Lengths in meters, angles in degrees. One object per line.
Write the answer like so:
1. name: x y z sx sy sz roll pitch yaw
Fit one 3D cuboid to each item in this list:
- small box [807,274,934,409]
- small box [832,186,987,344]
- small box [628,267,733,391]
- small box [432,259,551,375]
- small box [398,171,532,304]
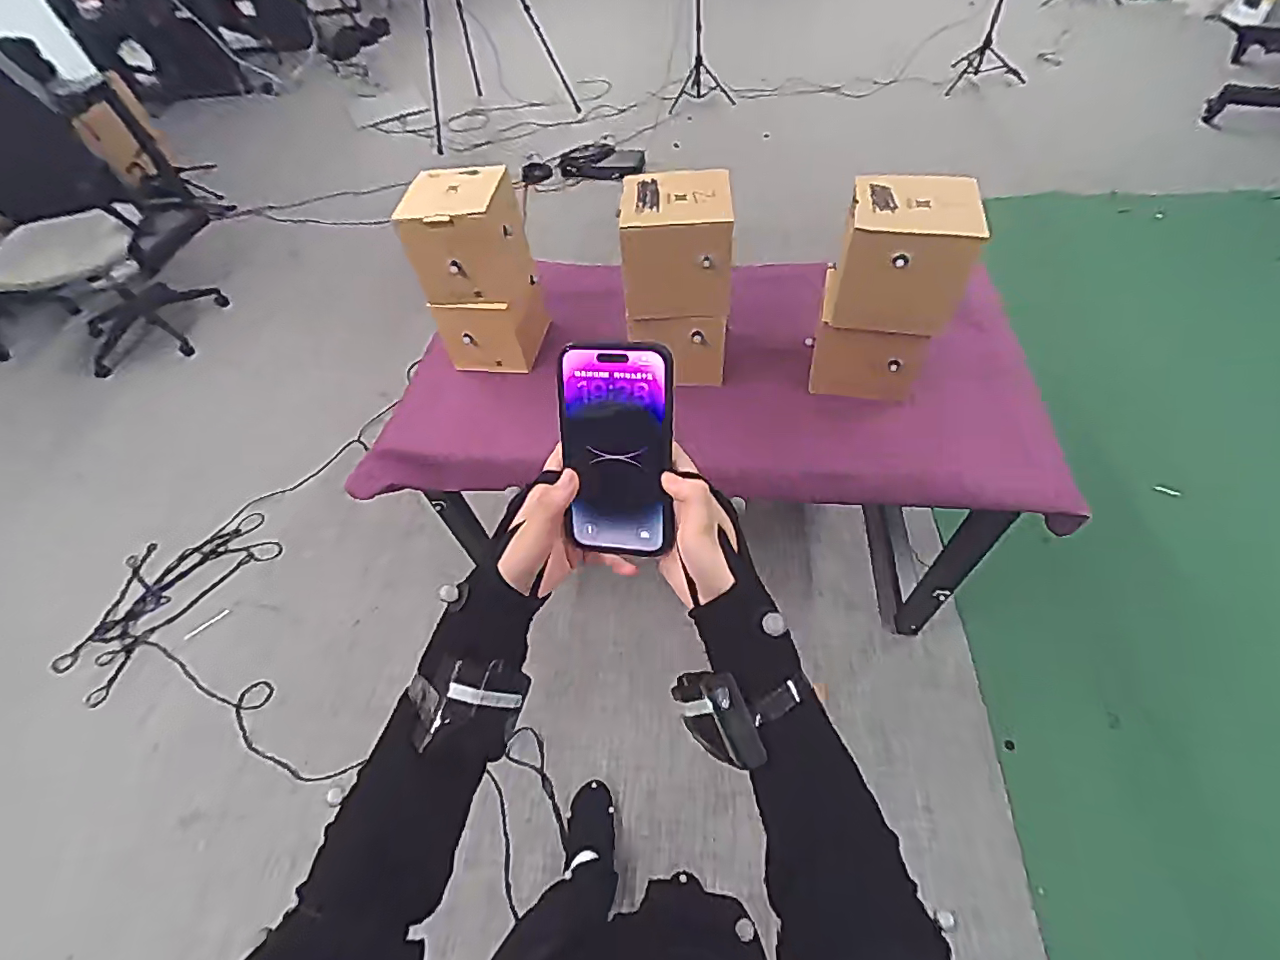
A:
1. small box: 0.415 -0.248 0.986 0.179 0.176 0.168 10 55 14
2. small box: 0.407 -0.333 0.845 0.179 0.176 0.168 10 55 13
3. small box: 0.083 -0.289 1.050 0.179 0.176 0.168 5 54 10
4. small box: -0.298 -0.338 1.128 0.168 0.176 0.179 5 54 10
5. small box: -0.310 -0.443 1.002 0.168 0.176 0.179 2 54 6
